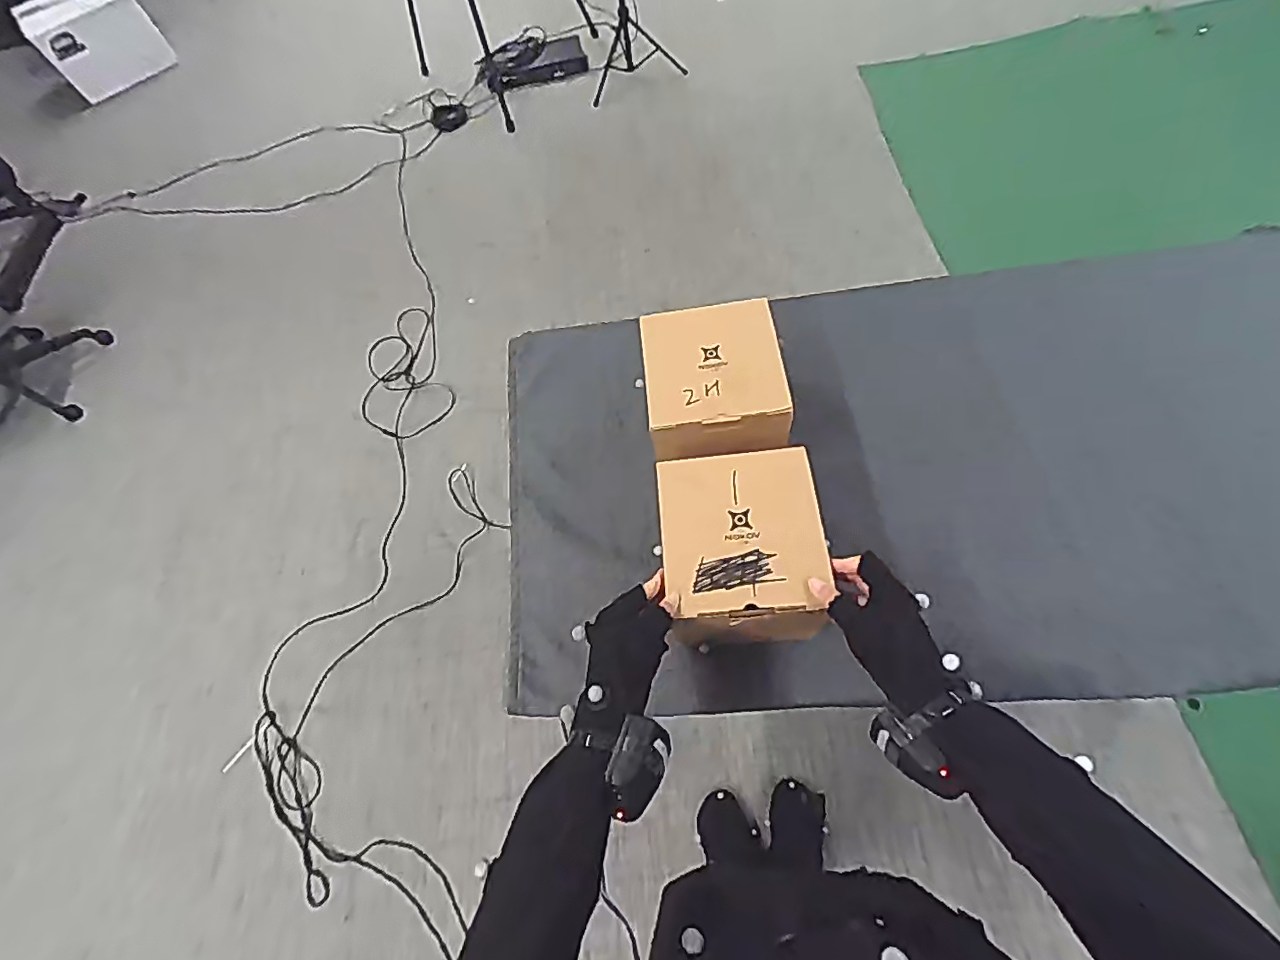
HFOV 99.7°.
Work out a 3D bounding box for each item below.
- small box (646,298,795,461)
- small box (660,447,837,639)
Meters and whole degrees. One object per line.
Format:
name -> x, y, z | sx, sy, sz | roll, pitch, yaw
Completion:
small box -> 0.101, -0.111, 0.726 | 0.168, 0.176, 0.179 | -7, 64, 6
small box -> 0.116, 0.083, 0.627 | 0.168, 0.176, 0.179 | -6, 63, 6
